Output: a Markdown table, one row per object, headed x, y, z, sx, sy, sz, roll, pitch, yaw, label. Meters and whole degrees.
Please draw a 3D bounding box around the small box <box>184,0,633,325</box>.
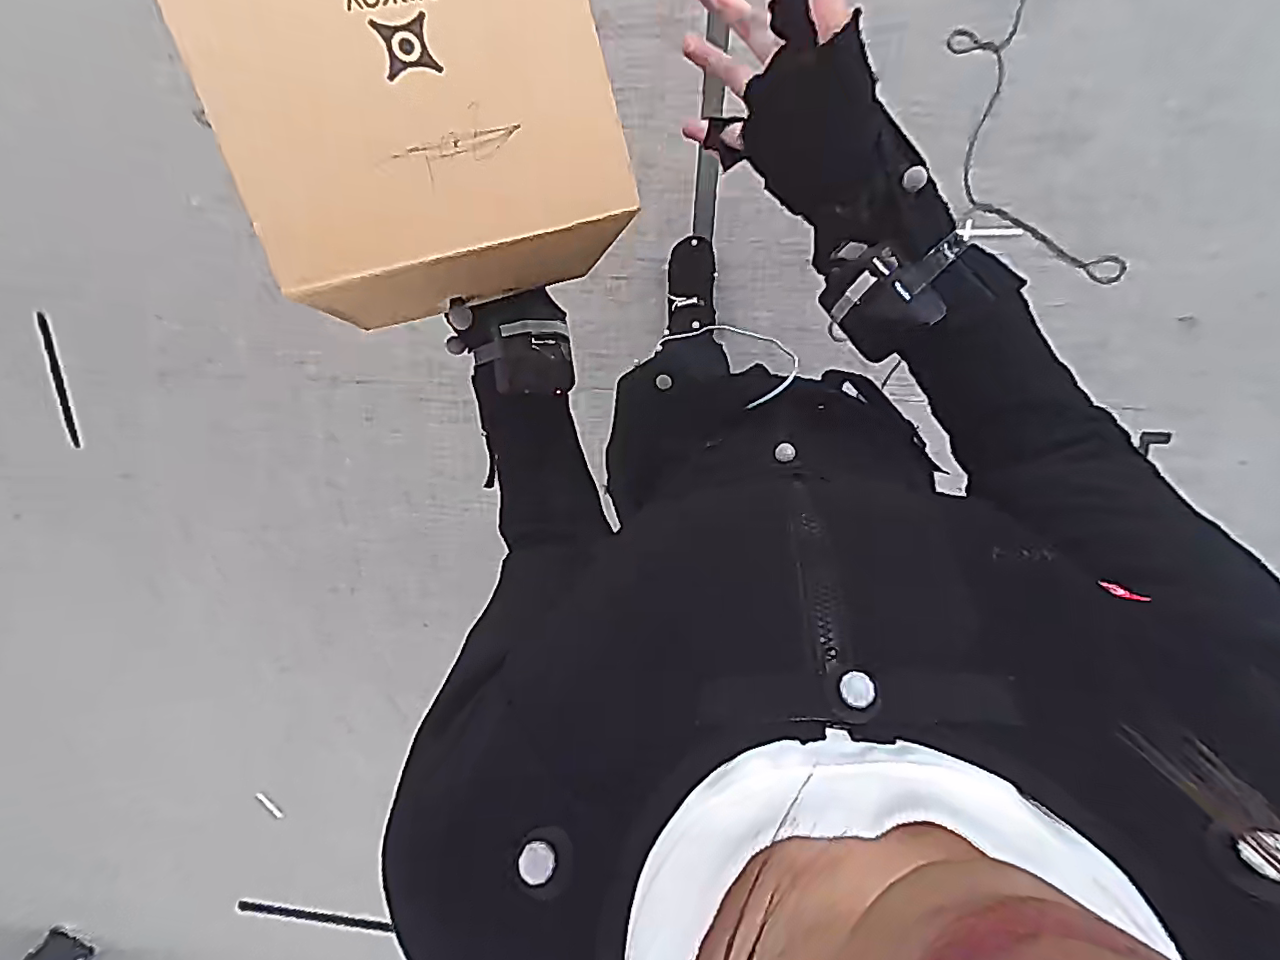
| x | y | z | sx | sy | sz | roll | pitch | yaw | label |
| --- | --- | --- | --- | --- | --- | --- | --- | --- | --- |
| -0.122 | -0.204 | 0.315 | 0.168 | 0.176 | 0.179 | -19 | 104 | -11 | small box |
